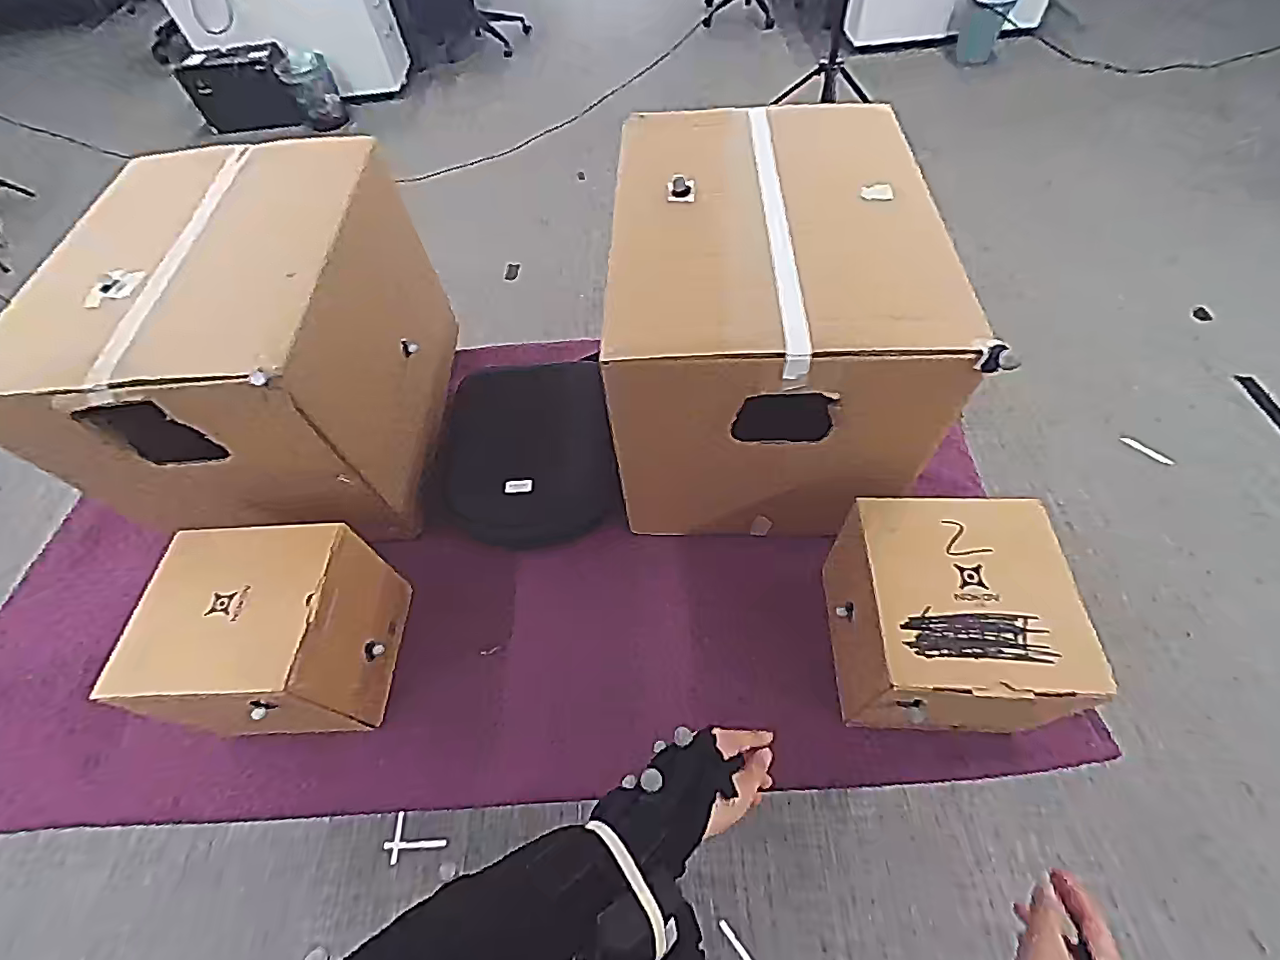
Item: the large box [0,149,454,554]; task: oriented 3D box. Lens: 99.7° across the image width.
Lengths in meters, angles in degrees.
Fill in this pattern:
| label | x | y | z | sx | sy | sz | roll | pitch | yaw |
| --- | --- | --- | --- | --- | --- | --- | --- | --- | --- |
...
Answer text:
| label | x | y | z | sx | sy | sz | roll | pitch | yaw |
| --- | --- | --- | --- | --- | --- | --- | --- | --- | --- |
| large box | -0.457 | -0.156 | 0.702 | 0.320 | 0.320 | 0.408 | -5 | 59 | 2 |
